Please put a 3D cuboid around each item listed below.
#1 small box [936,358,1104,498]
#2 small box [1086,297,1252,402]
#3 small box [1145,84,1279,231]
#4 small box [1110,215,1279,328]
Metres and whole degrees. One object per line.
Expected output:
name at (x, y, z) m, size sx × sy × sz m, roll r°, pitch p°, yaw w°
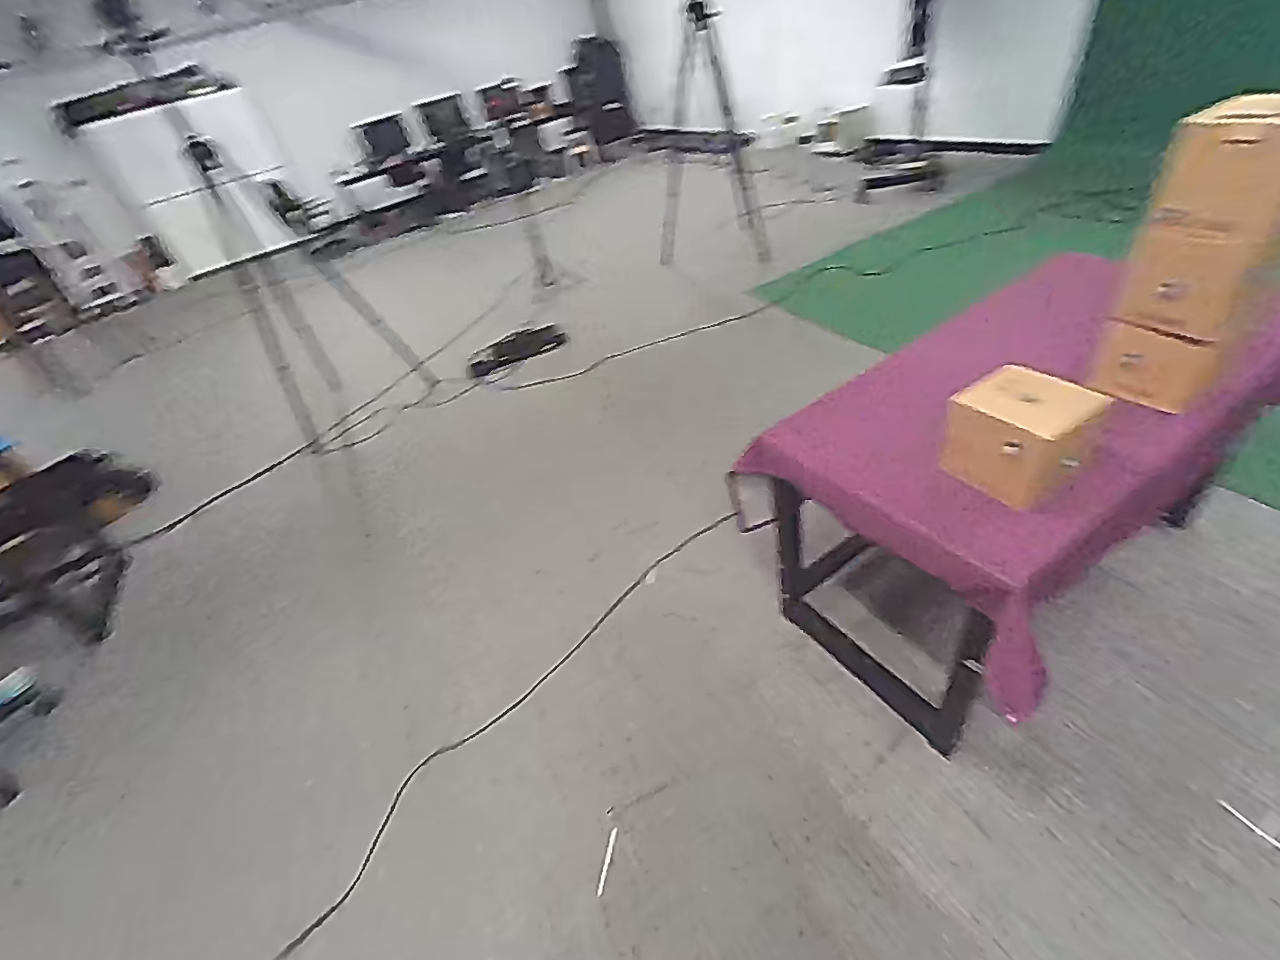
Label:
small box at (0.681, -0.091, 0.991) m, size 0.168 × 0.176 × 0.179 m, roll -29°, pitch 41°, yaw -16°
small box at (1.051, -0.281, 1.092) m, size 0.179 × 0.176 × 0.168 m, roll -30°, pitch 42°, yaw -17°
small box at (0.983, -0.525, 0.881) m, size 0.179 × 0.176 × 0.168 m, roll -27°, pitch 41°, yaw -15°
small box at (1.010, -0.400, 0.985) m, size 0.179 × 0.176 × 0.168 m, roll -28°, pitch 41°, yaw -13°
